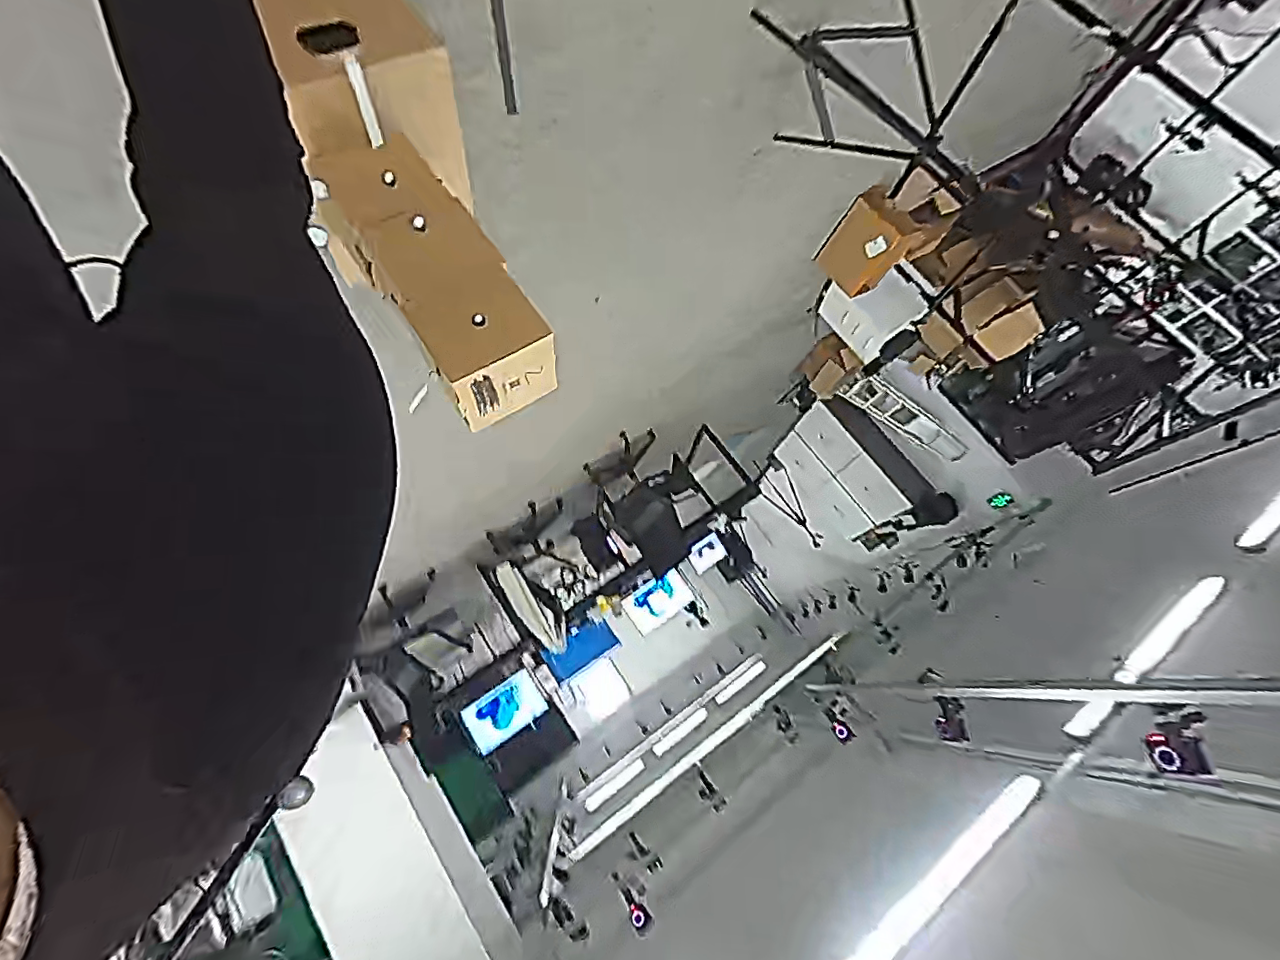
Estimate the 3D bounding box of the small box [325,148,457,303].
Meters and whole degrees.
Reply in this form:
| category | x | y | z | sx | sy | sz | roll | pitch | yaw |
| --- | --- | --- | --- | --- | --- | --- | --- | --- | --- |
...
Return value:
| category | x | y | z | sx | sy | sz | roll | pitch | yaw |
| --- | --- | --- | --- | --- | --- | --- | --- | --- | --- |
| small box | -0.445 | -0.466 | 0.991 | 0.179 | 0.176 | 0.168 | -31 | 165 | -22 |

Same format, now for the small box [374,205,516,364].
| category | x | y | z | sx | sy | sz | roll | pitch | yaw |
| --- | --- | --- | --- | --- | --- | --- | --- | --- | --- |
| small box | -0.342 | -0.343 | 0.954 | 0.179 | 0.176 | 0.168 | -30 | 165 | -19 |
